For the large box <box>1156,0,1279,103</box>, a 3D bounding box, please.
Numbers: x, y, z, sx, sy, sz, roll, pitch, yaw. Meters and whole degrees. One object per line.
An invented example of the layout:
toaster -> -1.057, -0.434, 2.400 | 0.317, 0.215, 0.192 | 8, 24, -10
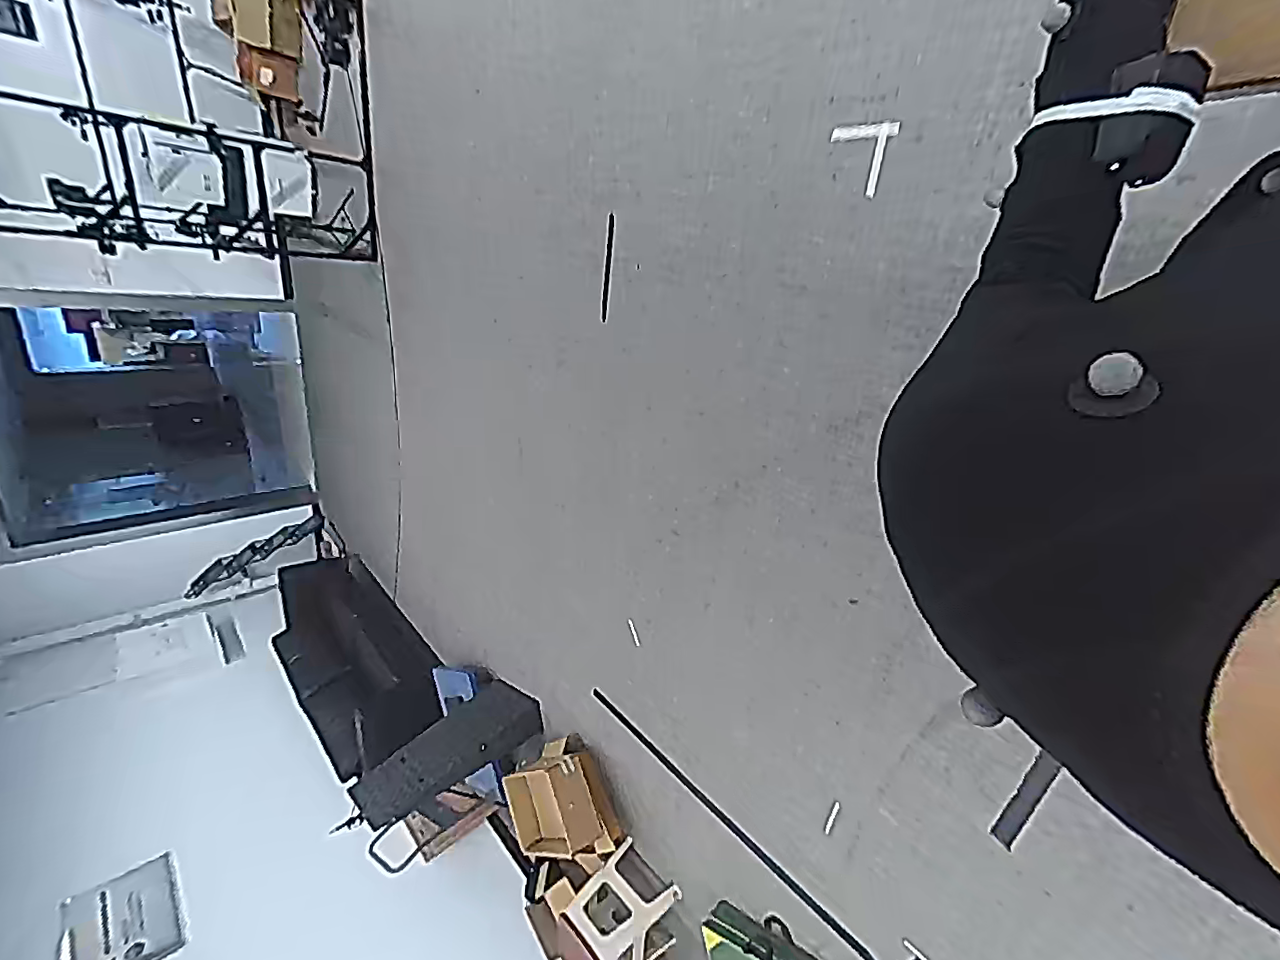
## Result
large box -> 0.589, -0.425, 0.279 | 0.408, 0.320, 0.320 | 19, 128, 41
